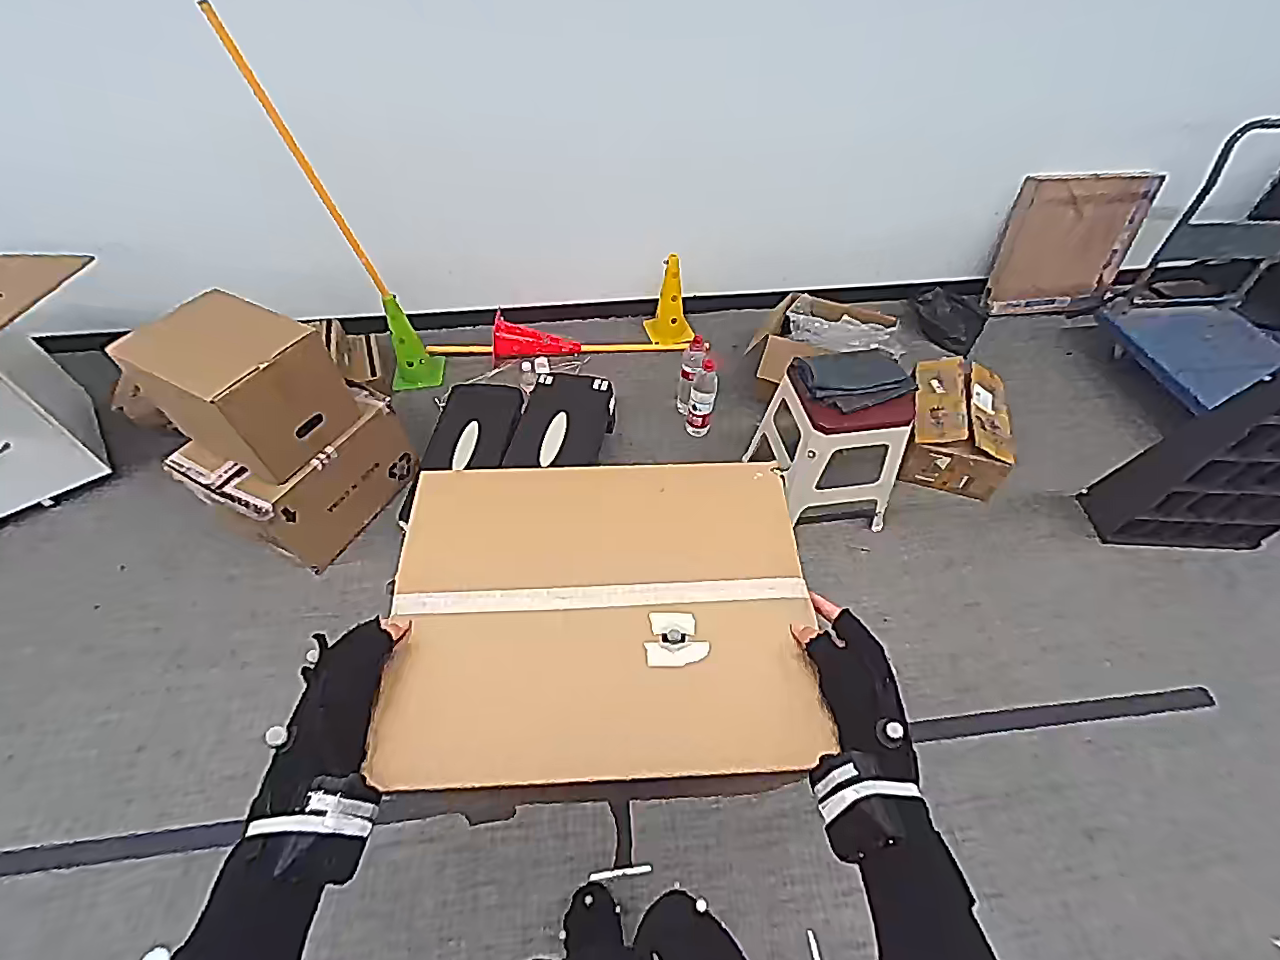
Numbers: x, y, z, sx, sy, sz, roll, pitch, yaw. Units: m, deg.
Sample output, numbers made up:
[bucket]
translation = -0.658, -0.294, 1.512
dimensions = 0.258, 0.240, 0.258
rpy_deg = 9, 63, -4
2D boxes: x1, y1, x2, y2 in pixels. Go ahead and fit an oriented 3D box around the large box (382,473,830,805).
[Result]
[large box]
translation = -0.039, 0.207, 0.676
dimensions = 0.408, 0.320, 0.320
rpy_deg = -1, 57, -3
